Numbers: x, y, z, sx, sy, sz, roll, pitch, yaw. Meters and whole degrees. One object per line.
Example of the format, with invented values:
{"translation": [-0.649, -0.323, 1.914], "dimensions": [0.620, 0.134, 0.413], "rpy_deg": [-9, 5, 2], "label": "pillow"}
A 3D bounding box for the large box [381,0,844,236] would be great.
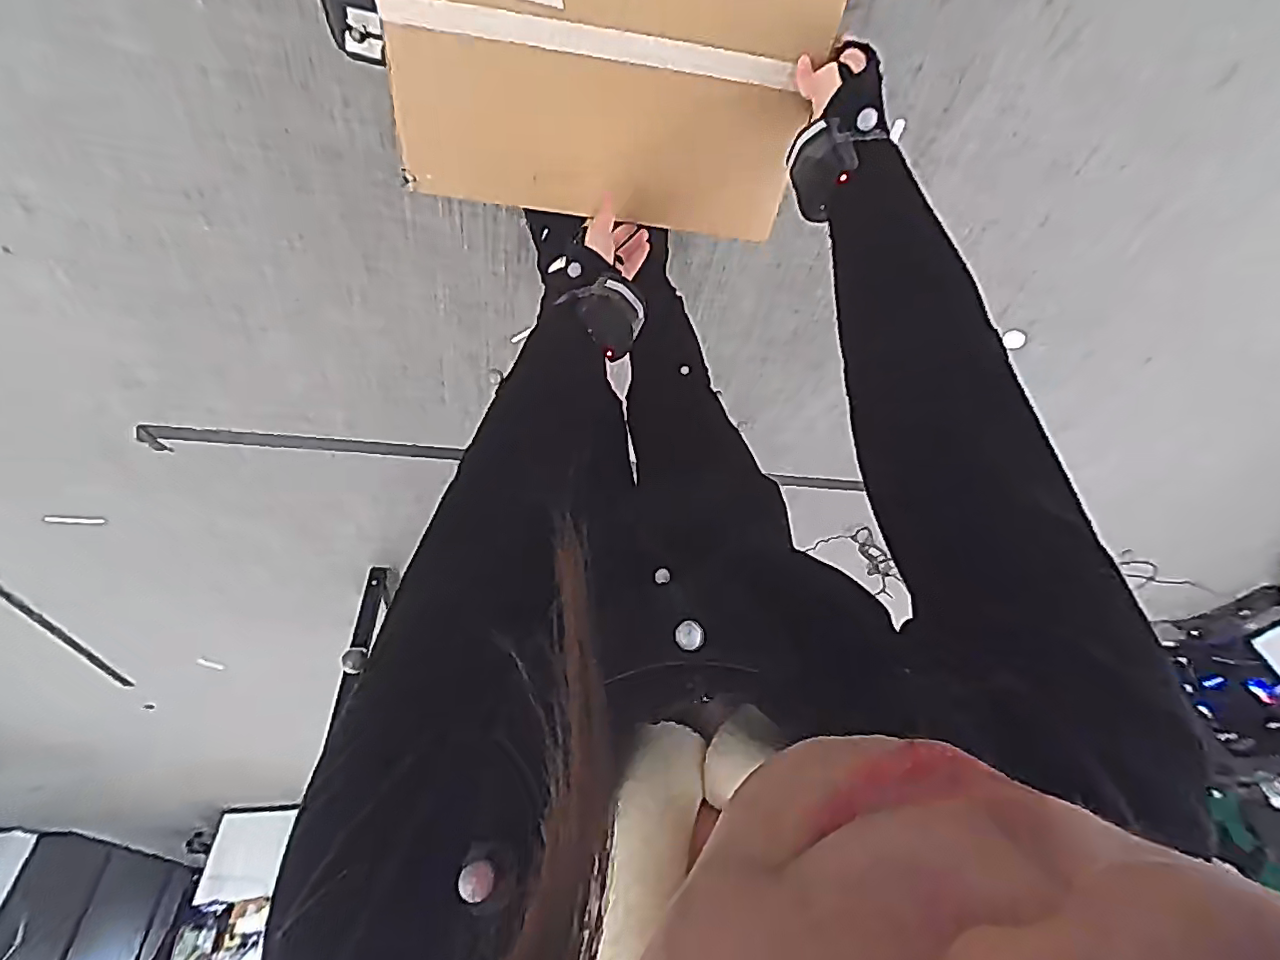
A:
{"translation": [-0.027, -0.507, 0.584], "dimensions": [0.408, 0.320, 0.320], "rpy_deg": [5, 137, -7], "label": "large box"}
